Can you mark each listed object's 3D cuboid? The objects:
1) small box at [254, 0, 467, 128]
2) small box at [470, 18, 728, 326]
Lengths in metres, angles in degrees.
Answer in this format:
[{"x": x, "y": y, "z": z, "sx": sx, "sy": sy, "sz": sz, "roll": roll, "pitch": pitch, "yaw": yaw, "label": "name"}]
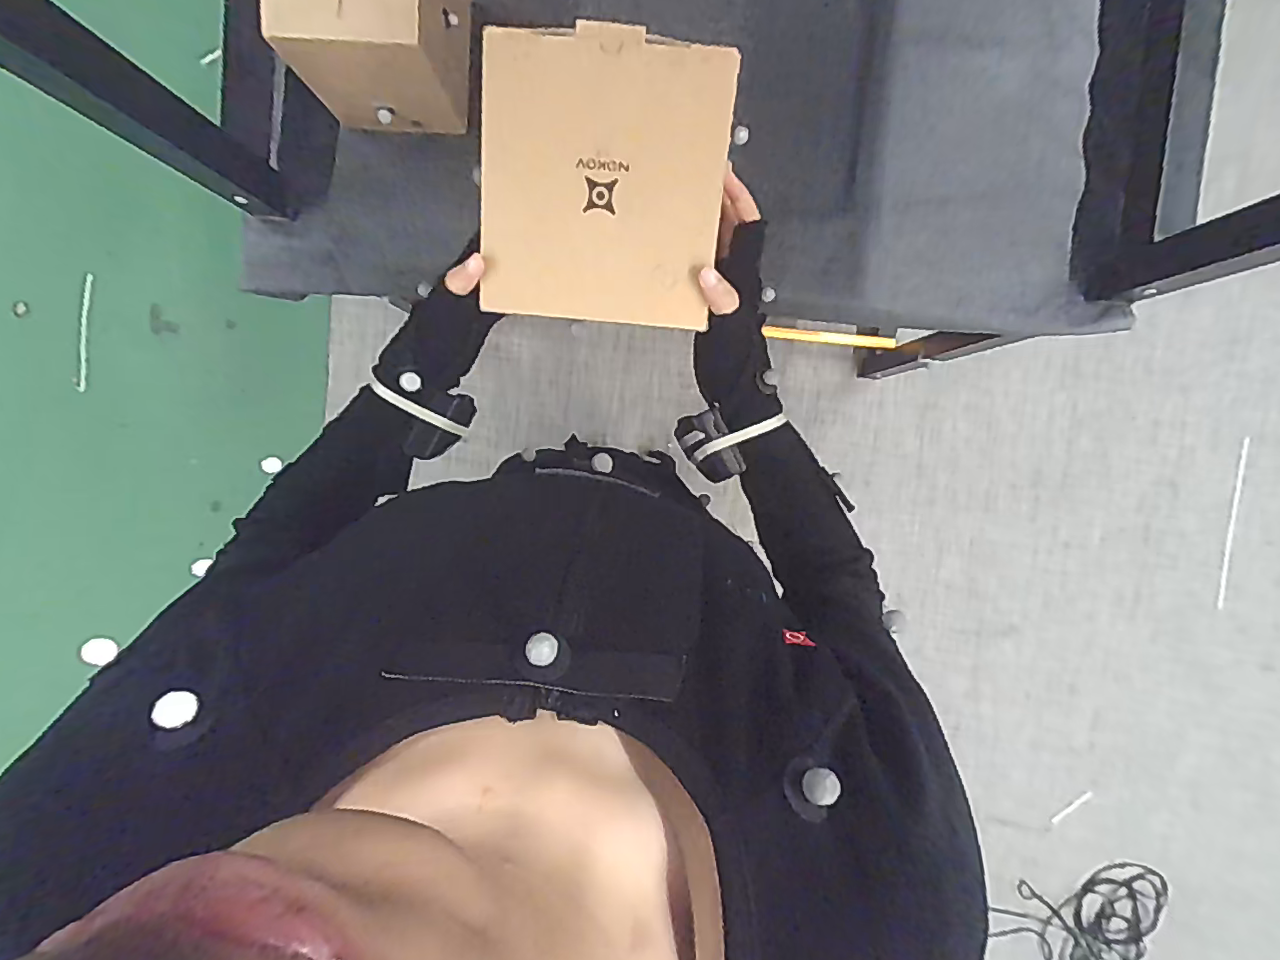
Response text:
[{"x": -0.309, "y": -0.553, "z": 0.629, "sx": 0.168, "sy": 0.176, "sz": 0.179, "roll": 3, "pitch": 95, "yaw": -1, "label": "small box"}, {"x": -0.028, "y": -0.222, "z": 0.441, "sx": 0.168, "sy": 0.176, "sz": 0.179, "roll": 6, "pitch": 104, "yaw": 1, "label": "small box"}]
